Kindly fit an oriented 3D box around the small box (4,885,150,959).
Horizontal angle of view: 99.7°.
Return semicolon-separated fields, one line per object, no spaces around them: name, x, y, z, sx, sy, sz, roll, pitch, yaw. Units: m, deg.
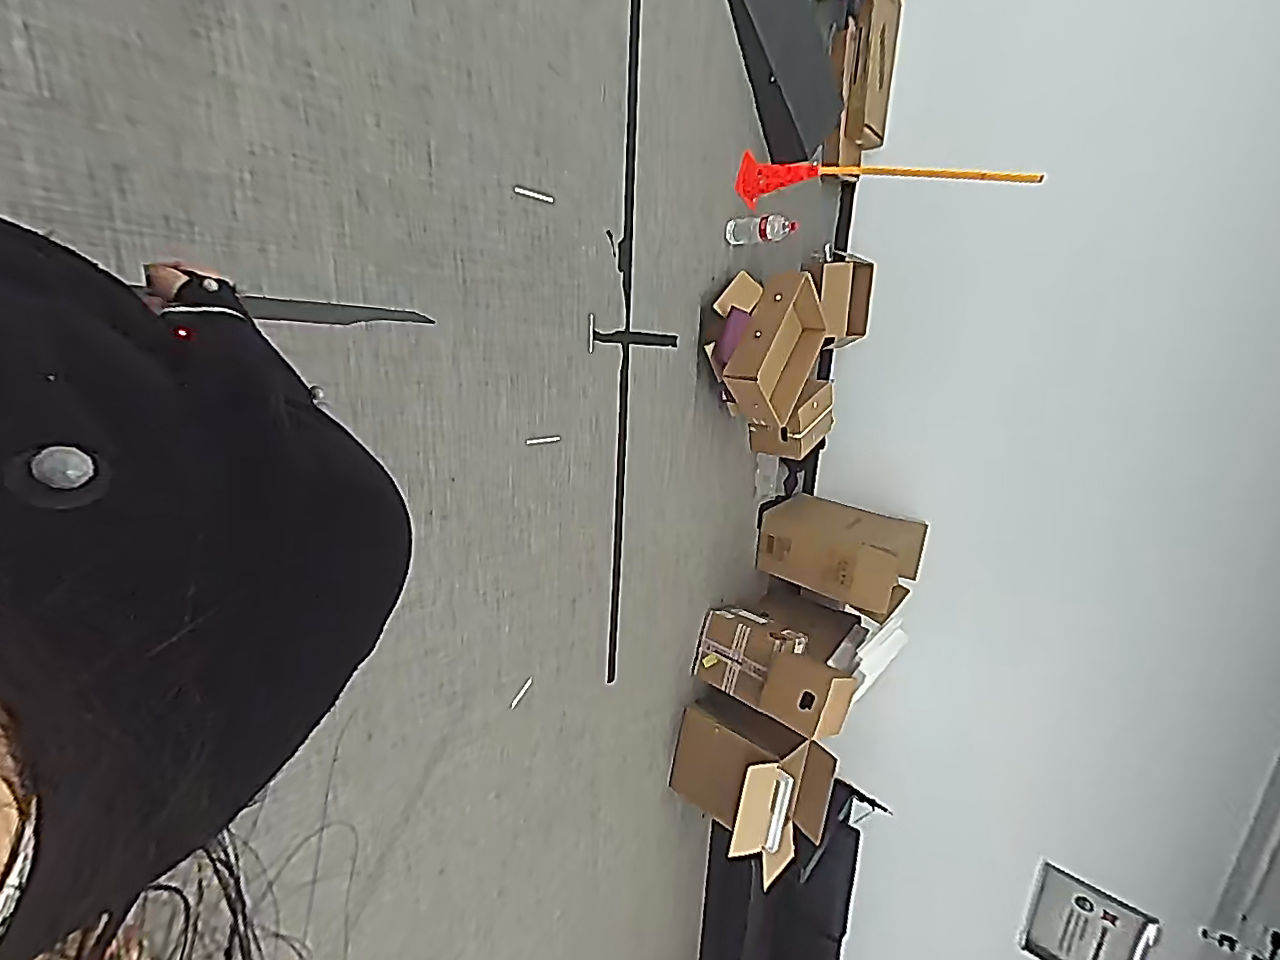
small box;-1.202;1.021;1.155;0.168;0.176;0.179;-31;123;-42

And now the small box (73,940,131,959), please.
small box;-1.081;1.062;1.050;0.168;0.176;0.179;-32;124;-43
